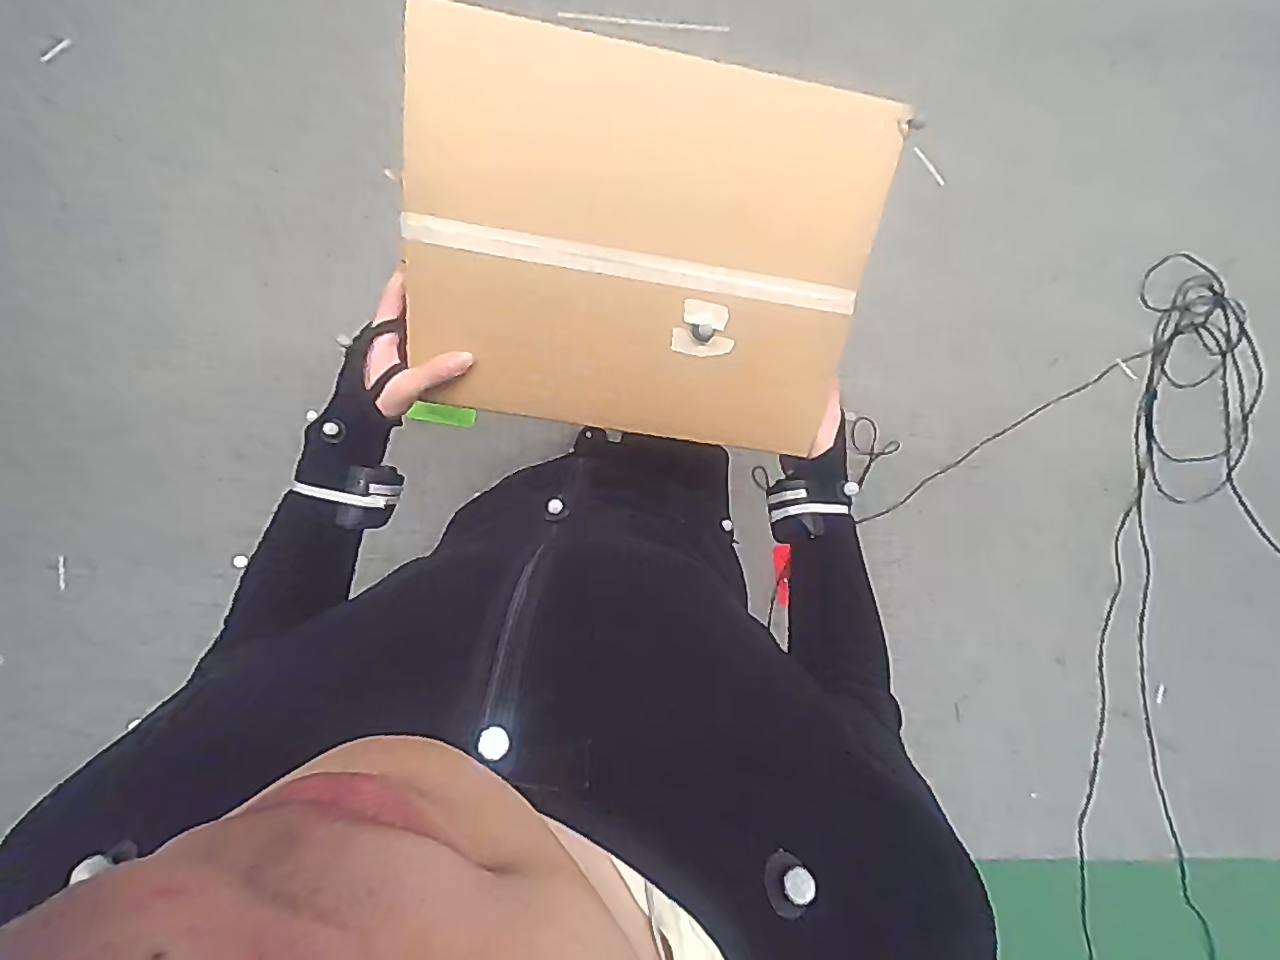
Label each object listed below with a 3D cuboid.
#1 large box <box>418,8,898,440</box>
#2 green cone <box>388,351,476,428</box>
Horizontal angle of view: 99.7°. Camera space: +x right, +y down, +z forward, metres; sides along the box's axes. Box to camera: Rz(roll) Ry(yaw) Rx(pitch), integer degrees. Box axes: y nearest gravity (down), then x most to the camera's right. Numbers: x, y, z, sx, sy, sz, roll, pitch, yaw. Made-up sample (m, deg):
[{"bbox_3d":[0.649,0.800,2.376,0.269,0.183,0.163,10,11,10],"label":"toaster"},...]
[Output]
[{"bbox_3d":[-0.007,-0.259,0.628,0.408,0.320,0.320,7,113,-7],"label":"large box"},{"bbox_3d":[-0.562,-0.239,1.394,0.200,0.368,0.202,9,97,-4],"label":"green cone"}]
